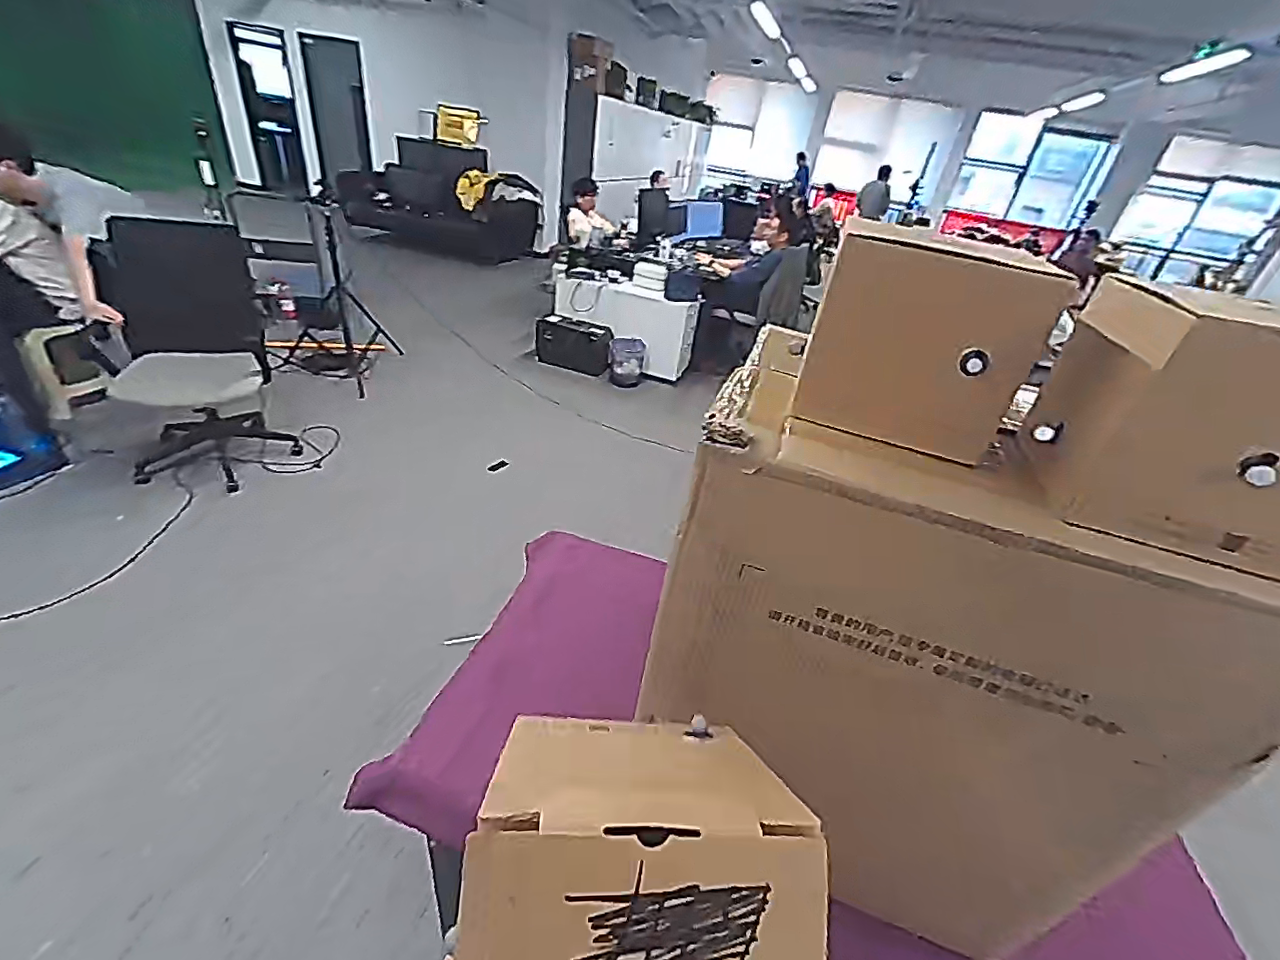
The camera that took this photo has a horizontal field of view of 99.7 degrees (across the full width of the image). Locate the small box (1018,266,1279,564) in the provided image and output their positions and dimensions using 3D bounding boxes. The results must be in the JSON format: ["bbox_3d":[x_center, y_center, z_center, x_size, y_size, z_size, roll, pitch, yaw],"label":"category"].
[{"bbox_3d":[0.448,-0.060,0.436,0.168,0.176,0.179,17,33,13],"label":"small box"}]

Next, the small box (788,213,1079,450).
[{"bbox_3d":[0.259,-0.147,0.523,0.179,0.176,0.168,16,32,12],"label":"small box"}]
